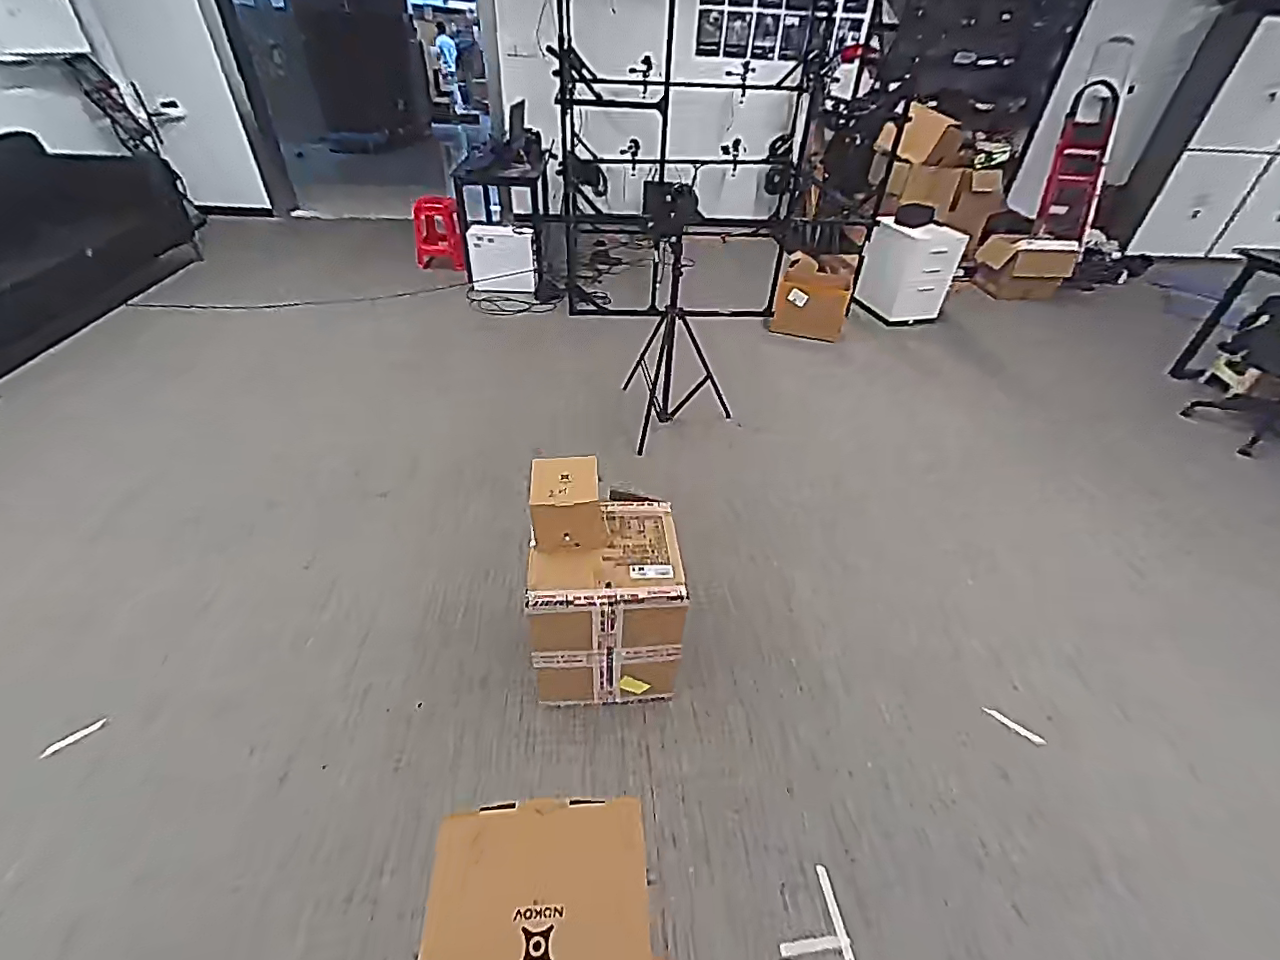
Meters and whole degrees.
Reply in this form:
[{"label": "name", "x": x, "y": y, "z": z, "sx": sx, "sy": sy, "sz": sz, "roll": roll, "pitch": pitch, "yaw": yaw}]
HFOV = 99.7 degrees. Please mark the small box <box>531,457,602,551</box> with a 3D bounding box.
[{"label": "small box", "x": -0.184, "y": 0.061, "z": 1.390, "sx": 0.168, "sy": 0.176, "sz": 0.179, "roll": -3, "pitch": 42, "yaw": -5}]
